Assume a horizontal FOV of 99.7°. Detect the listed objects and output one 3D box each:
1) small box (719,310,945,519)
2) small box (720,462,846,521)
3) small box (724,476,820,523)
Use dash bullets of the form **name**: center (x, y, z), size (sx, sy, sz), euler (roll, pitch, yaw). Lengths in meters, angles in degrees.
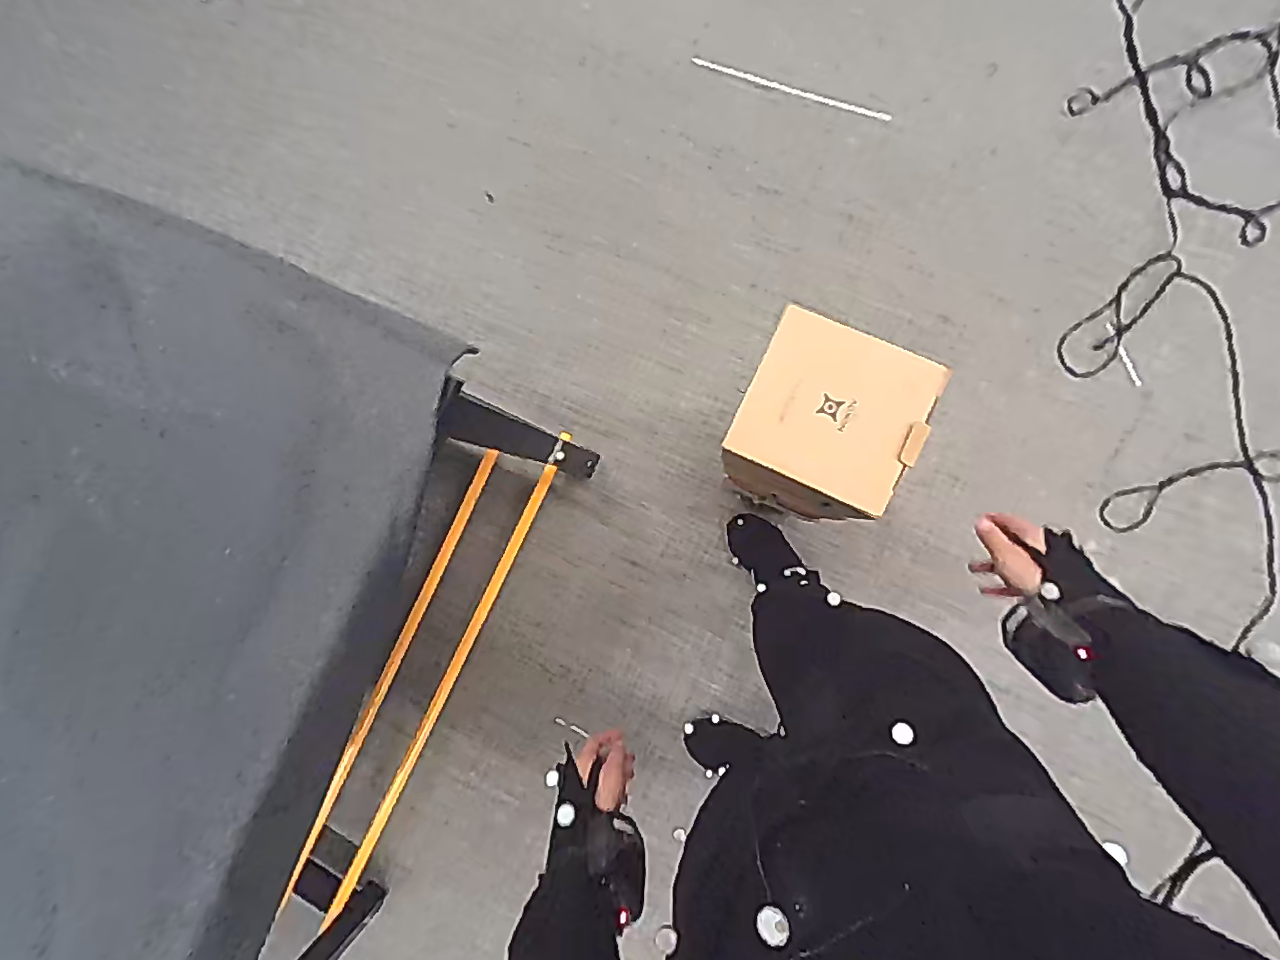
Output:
- **small box**: center (0.204, -0.065, 0.627), size (0.179, 0.176, 0.168), euler (25, 89, 9)
- **small box**: center (0.230, -0.052, 0.787), size (0.179, 0.176, 0.168), euler (26, 89, 7)
- **small box**: center (0.256, -0.036, 0.949), size (0.168, 0.176, 0.179), euler (24, 89, 8)
